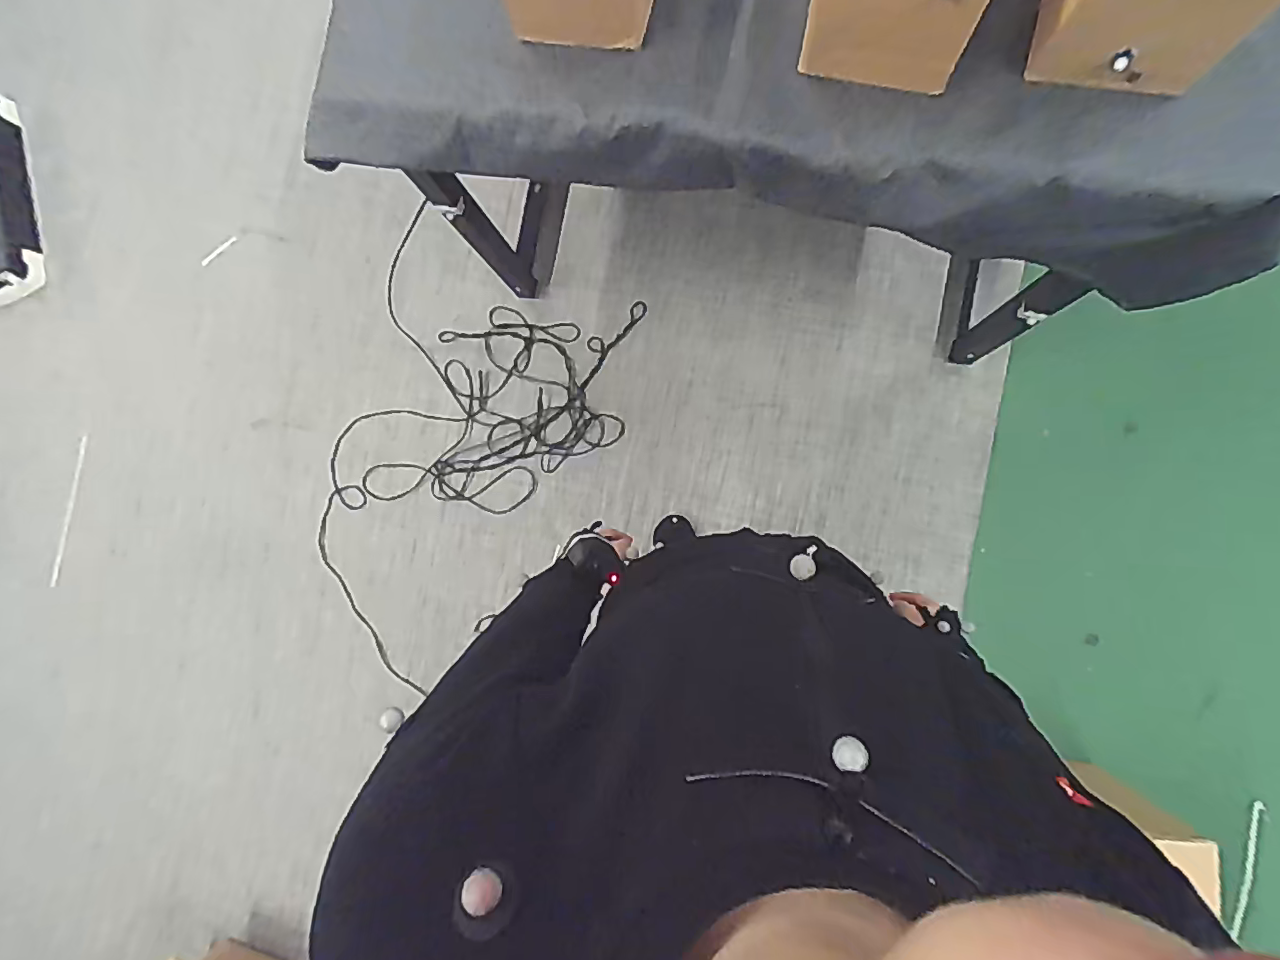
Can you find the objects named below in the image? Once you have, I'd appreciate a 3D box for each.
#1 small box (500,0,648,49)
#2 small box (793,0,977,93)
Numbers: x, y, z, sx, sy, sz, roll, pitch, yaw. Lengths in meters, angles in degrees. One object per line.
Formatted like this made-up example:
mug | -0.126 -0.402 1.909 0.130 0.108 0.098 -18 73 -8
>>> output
small box | -0.081 -0.652 0.632 0.179 0.176 0.168 12 88 7
small box | 0.277 -0.561 0.580 0.179 0.176 0.168 16 87 8
